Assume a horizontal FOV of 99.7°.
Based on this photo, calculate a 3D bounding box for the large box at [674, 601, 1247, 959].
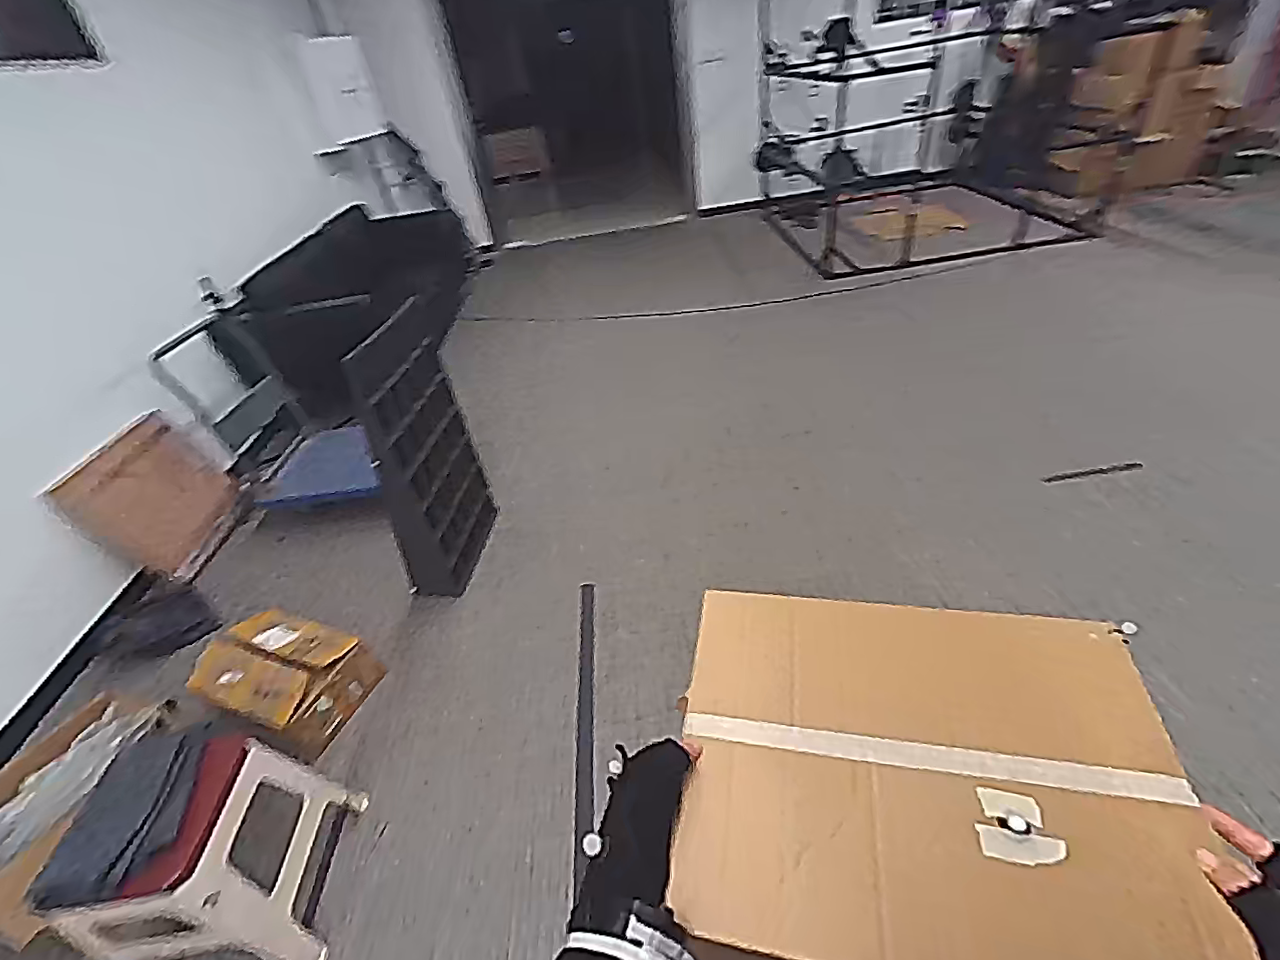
[{"bbox_3d":[0.269,0.362,0.589,0.408,0.320,0.320,3,45,16],"label":"large box"}]
